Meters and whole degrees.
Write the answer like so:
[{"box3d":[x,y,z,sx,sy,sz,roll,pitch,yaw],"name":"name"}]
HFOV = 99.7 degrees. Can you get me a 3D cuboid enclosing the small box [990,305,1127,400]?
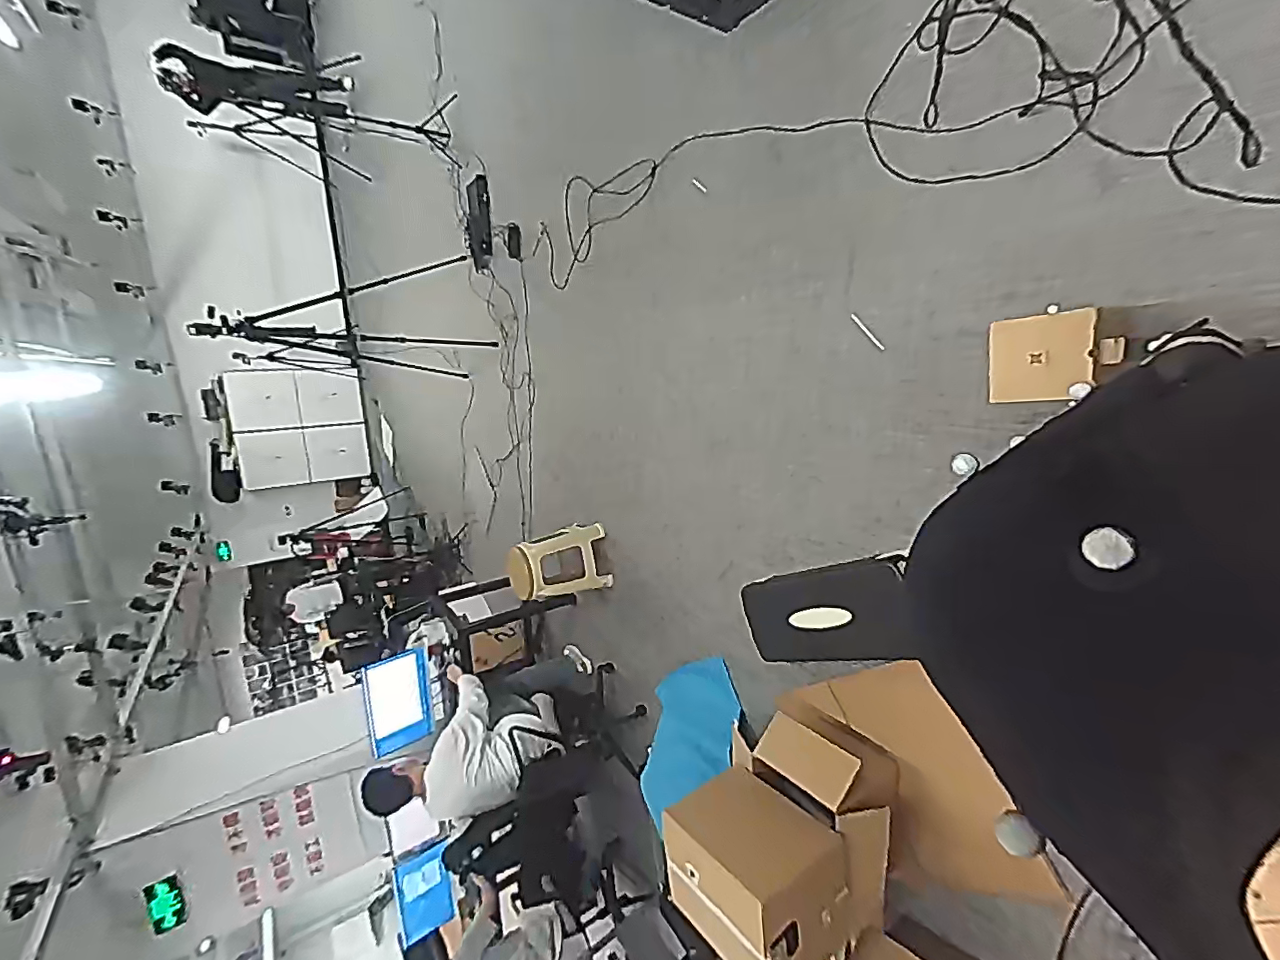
[{"box3d":[0.837,-0.248,1.087,0.179,0.176,0.168,6,103,54],"name":"small box"}]
